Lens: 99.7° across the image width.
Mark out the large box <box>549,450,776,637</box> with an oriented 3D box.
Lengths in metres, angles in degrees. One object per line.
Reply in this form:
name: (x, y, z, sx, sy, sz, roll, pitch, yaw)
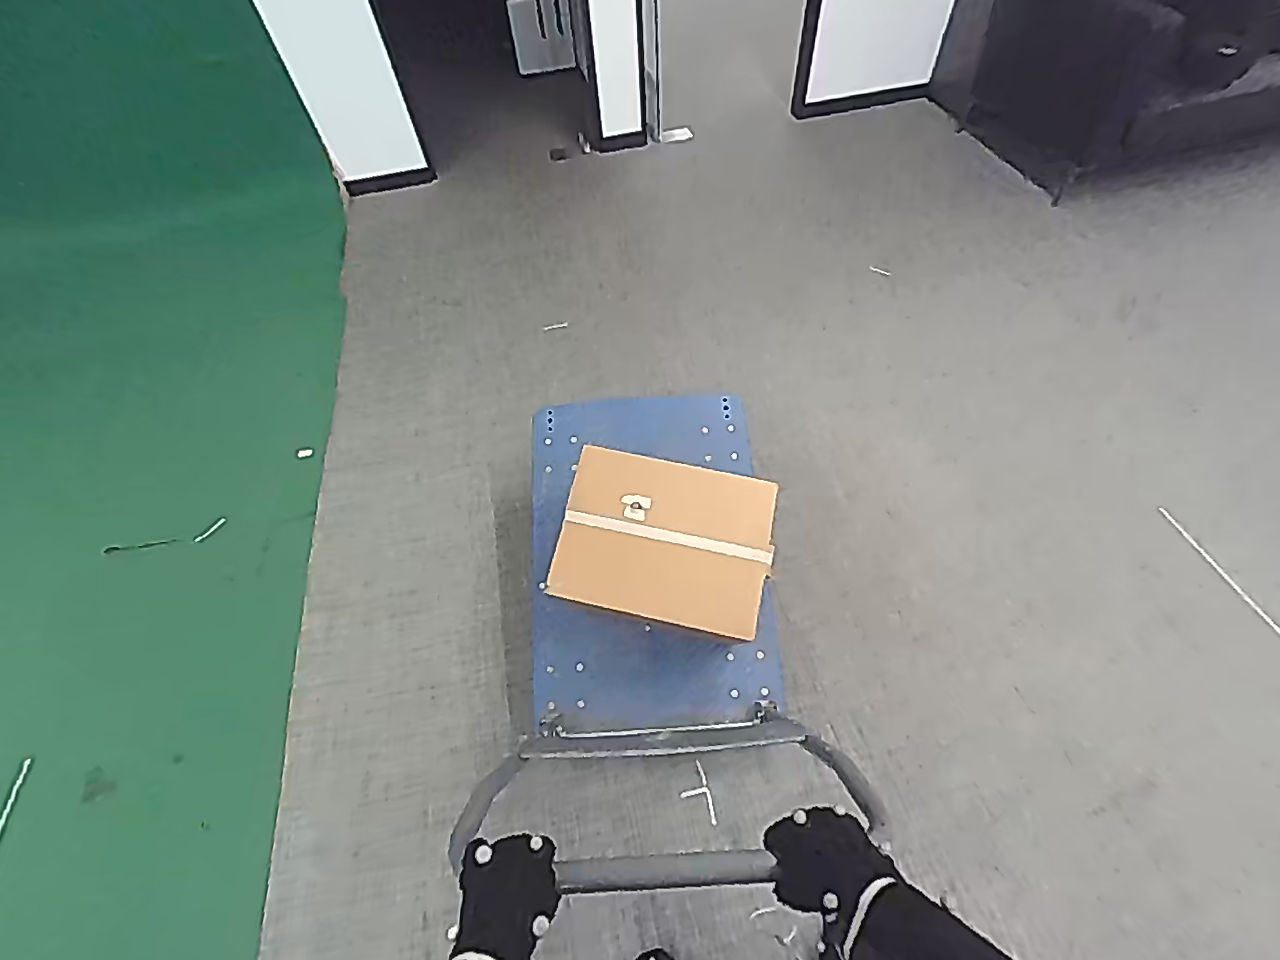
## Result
large box: (0.059, 0.155, 1.191, 0.408, 0.320, 0.320, 11, 73, 7)
